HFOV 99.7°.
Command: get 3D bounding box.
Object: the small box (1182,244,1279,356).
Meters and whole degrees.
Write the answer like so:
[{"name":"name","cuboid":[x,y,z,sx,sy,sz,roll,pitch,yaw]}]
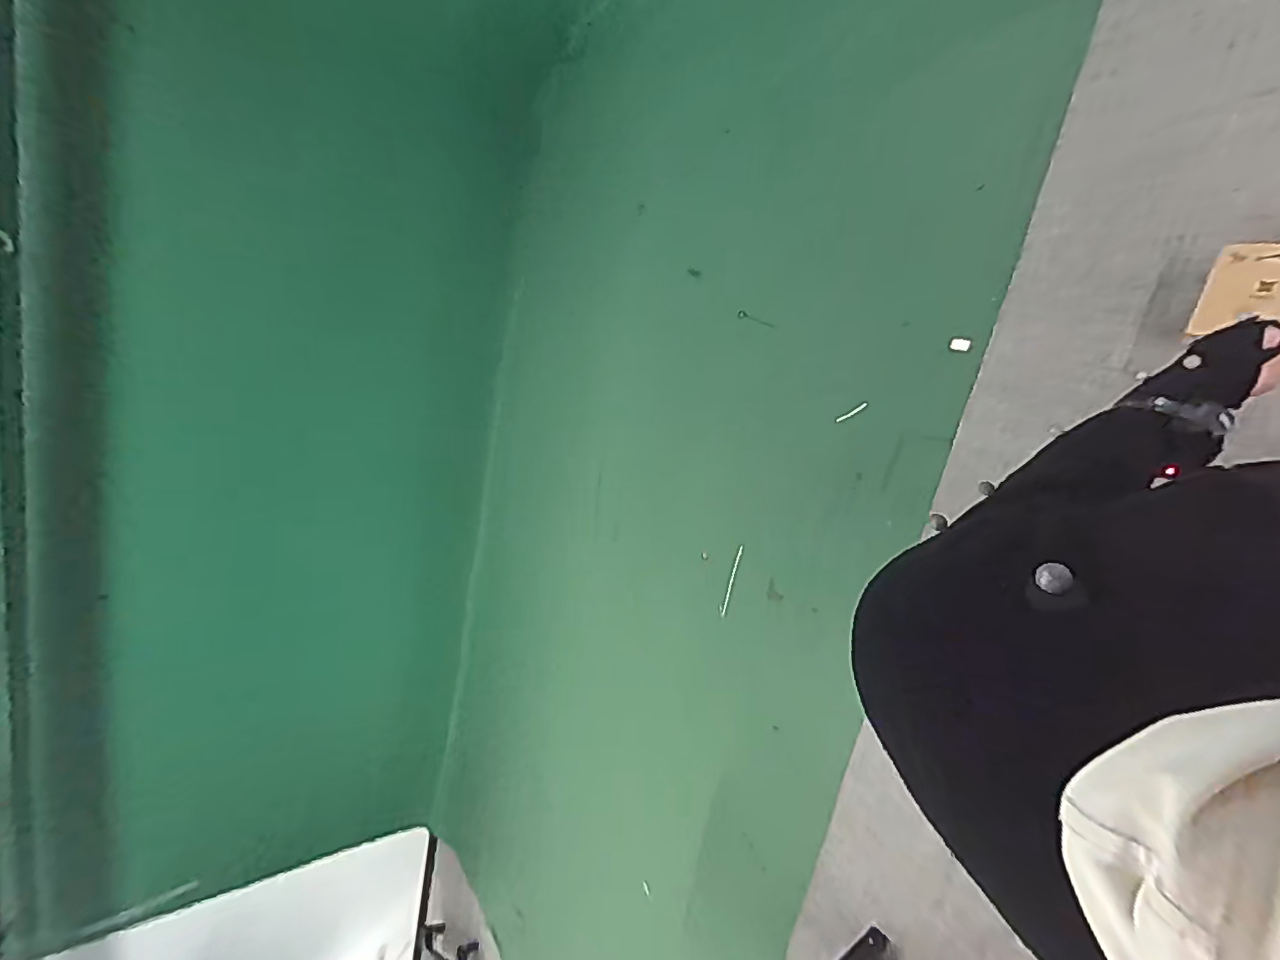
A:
[{"name":"small box","cuboid":[1.227,-0.350,1.063,0.168,0.176,0.179,29,110,48]}]
